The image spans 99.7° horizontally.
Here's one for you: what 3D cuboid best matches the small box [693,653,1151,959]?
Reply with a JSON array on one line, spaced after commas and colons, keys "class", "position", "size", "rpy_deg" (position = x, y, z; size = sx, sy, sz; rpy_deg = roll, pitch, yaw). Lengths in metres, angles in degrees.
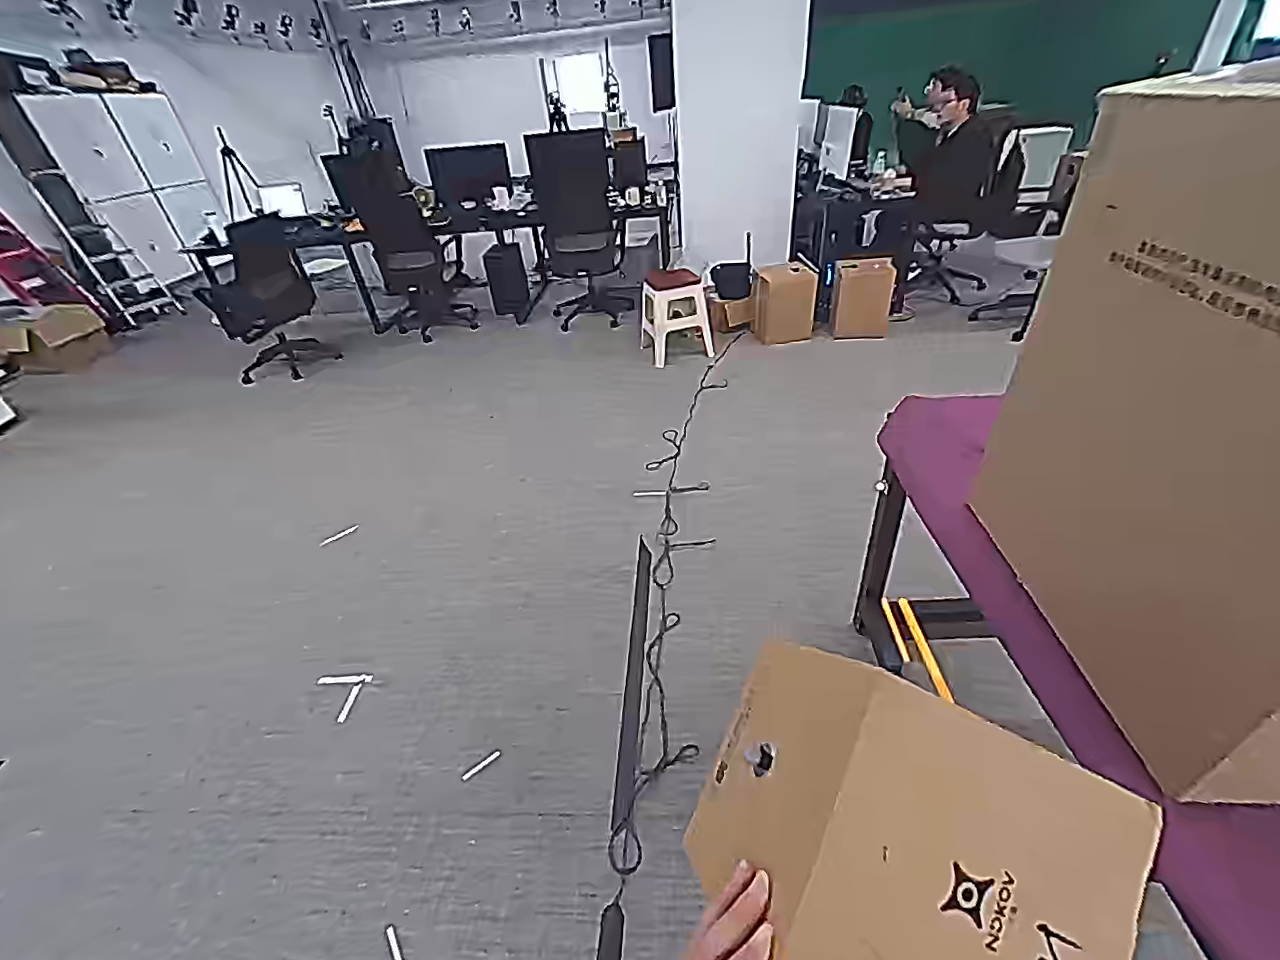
[{"class": "small box", "position": [0.154, 0.221, 0.343], "size": [0.179, 0.176, 0.168], "rpy_deg": [27, 74, -4]}]
